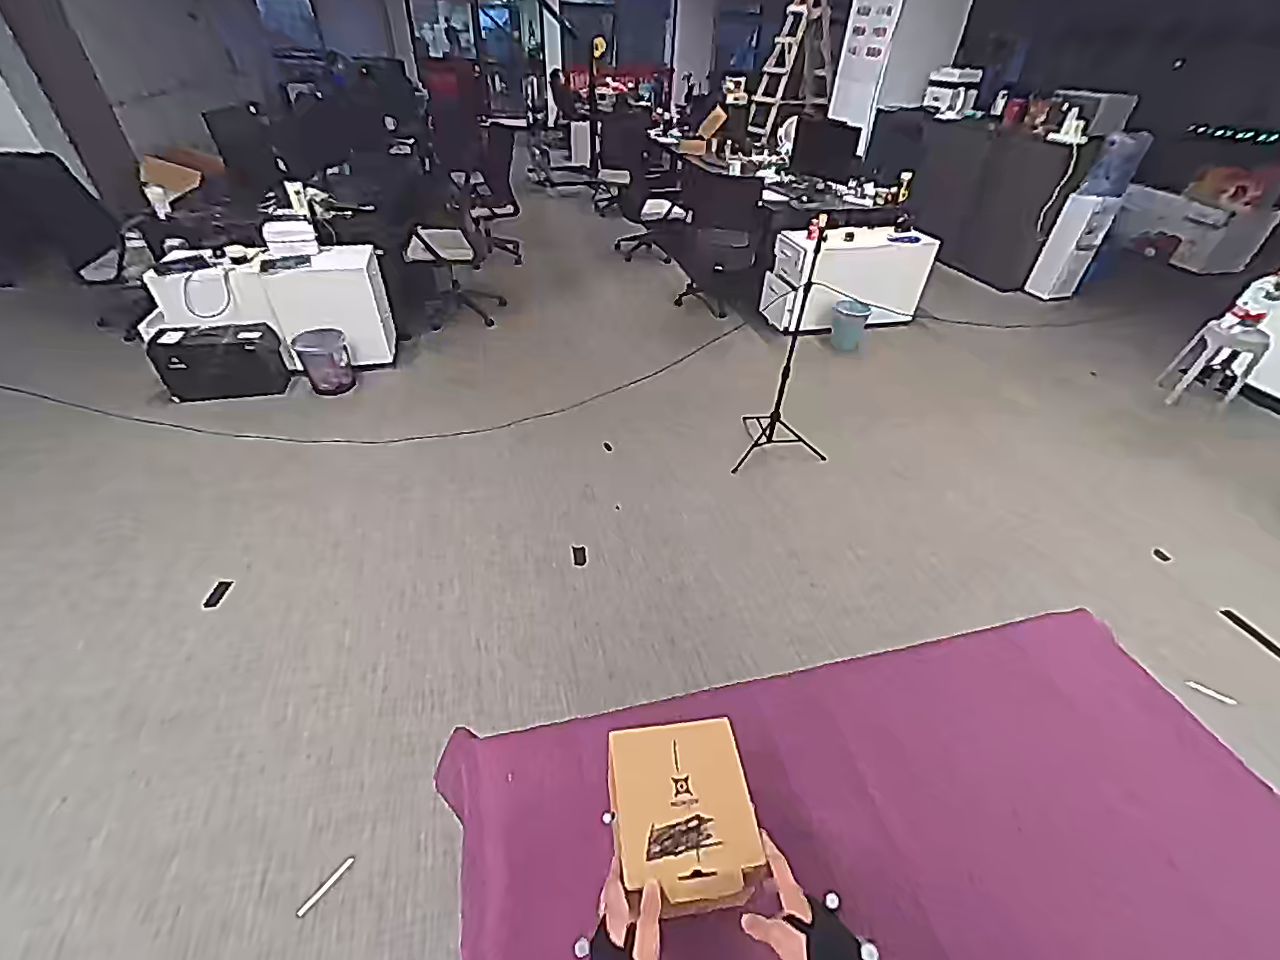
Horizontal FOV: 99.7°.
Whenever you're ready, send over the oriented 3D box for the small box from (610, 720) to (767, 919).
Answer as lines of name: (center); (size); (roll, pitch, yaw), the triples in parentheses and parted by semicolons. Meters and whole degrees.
small box: (0.051, 0.447, 0.710); (0.168, 0.176, 0.179); (-3, 40, -8)
